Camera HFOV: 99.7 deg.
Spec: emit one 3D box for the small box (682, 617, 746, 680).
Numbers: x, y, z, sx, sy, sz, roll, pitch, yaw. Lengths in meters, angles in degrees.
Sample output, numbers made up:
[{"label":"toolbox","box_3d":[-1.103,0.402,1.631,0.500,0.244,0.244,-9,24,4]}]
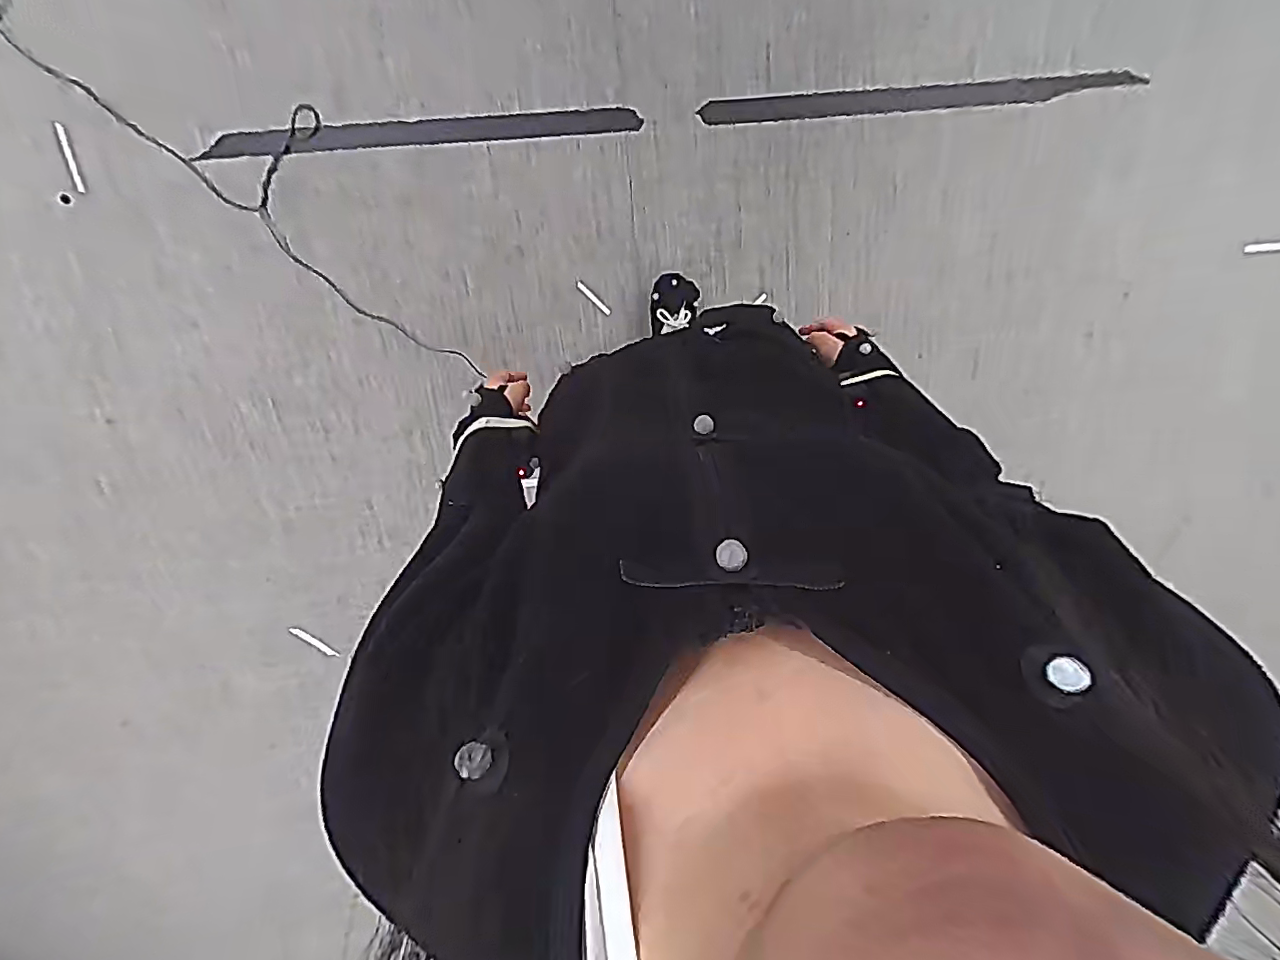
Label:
[{"label":"small box","box_3d":[0.220,0.523,1.601,0.168,0.176,0.179,-9,108,1]}]
